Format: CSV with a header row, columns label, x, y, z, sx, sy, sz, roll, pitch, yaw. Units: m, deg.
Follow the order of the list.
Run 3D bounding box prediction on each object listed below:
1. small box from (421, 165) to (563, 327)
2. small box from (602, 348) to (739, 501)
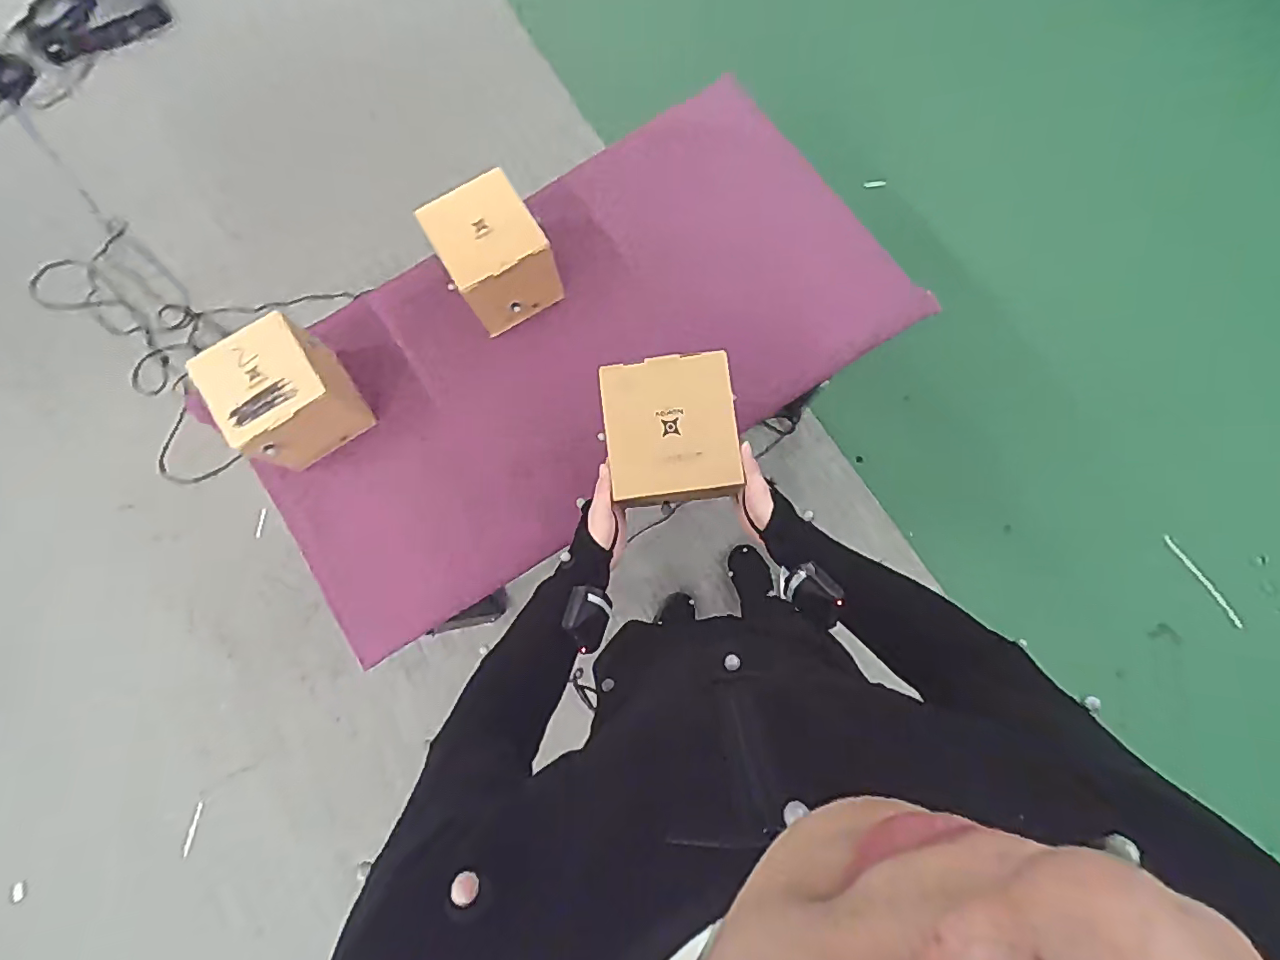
label,x,y,z,sx,sy,sz,roll,pitch,yaw
small box,-0.259,-0.415,0.986,0.168,0.176,0.179,-31,81,-4
small box,0.042,-0.069,0.765,0.168,0.176,0.179,-6,84,4
